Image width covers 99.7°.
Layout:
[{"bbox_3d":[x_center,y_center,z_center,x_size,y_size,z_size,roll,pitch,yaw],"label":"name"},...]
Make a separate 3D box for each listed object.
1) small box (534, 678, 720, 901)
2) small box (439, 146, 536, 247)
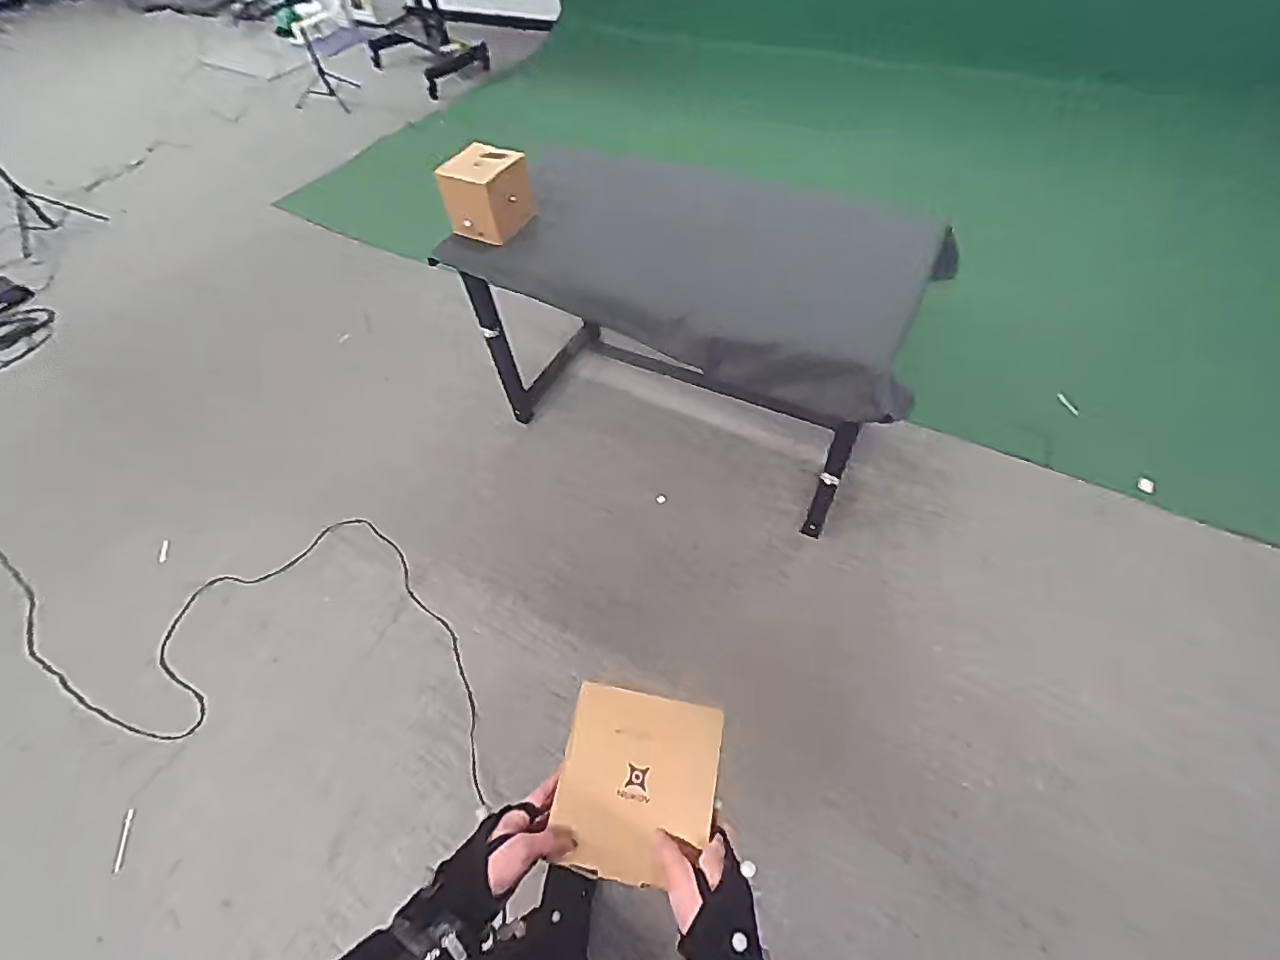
[{"bbox_3d":[-0.007,0.347,0.624,0.168,0.176,0.179,9,61,5],"label":"small box"},{"bbox_3d":[-0.397,-0.760,1.453,0.168,0.176,0.179,23,59,19],"label":"small box"}]
